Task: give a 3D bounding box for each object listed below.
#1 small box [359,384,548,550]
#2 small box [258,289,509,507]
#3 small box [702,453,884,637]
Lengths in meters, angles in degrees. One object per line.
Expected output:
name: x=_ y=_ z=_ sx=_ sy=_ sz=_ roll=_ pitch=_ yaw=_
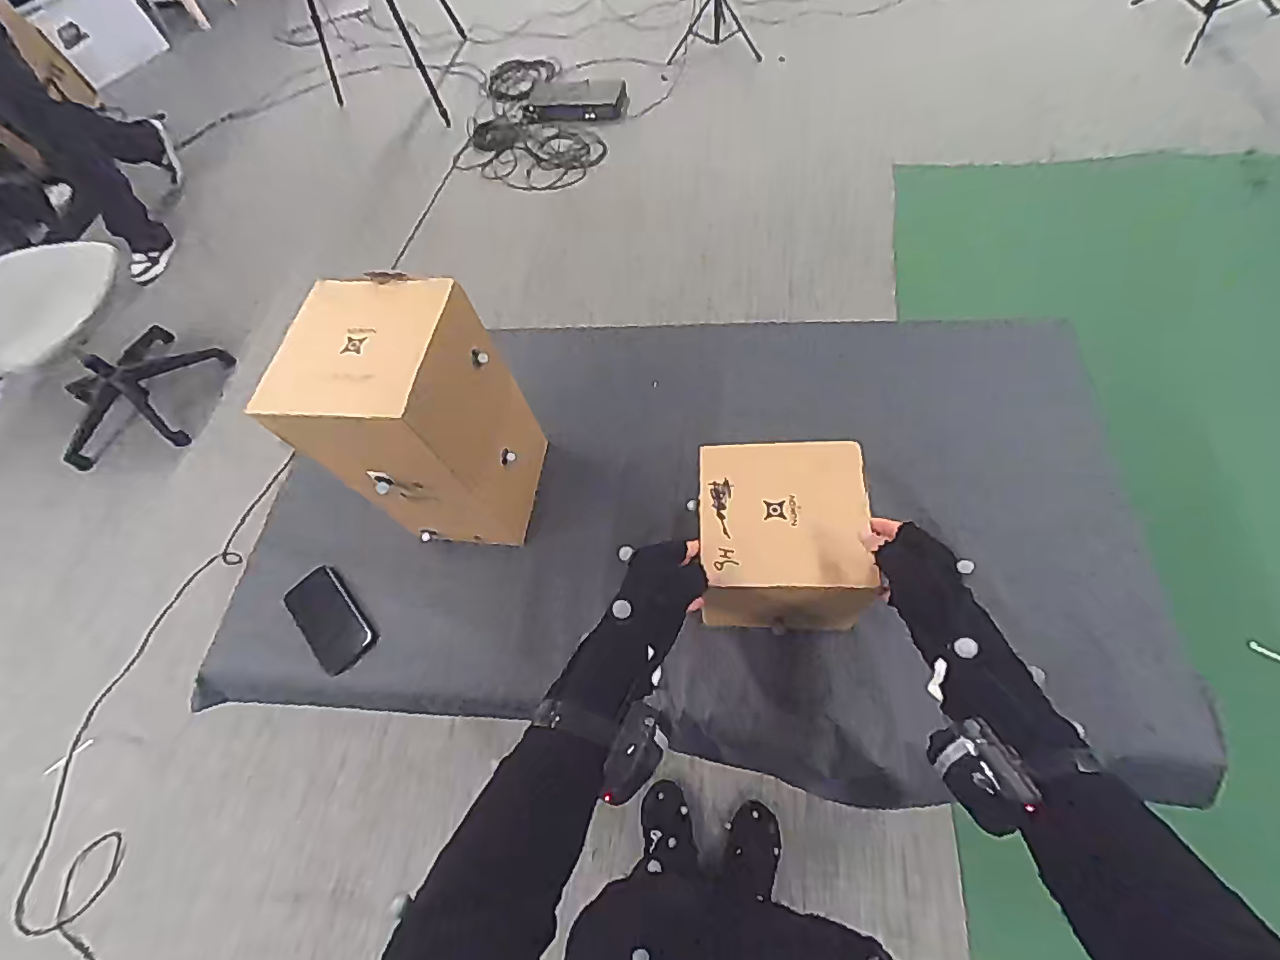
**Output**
small box: x=-0.240 y=-0.015 z=0.748 sx=0.168 sy=0.176 sz=0.179 roll=3 pitch=61 yaw=11
small box: x=-0.262 y=-0.087 z=0.605 sx=0.168 sy=0.176 sz=0.179 roll=2 pitch=63 yaw=11
small box: x=0.162 y=0.081 z=0.630 sx=0.179 sy=0.176 sz=0.168 roll=-1 pitch=61 yaw=8
